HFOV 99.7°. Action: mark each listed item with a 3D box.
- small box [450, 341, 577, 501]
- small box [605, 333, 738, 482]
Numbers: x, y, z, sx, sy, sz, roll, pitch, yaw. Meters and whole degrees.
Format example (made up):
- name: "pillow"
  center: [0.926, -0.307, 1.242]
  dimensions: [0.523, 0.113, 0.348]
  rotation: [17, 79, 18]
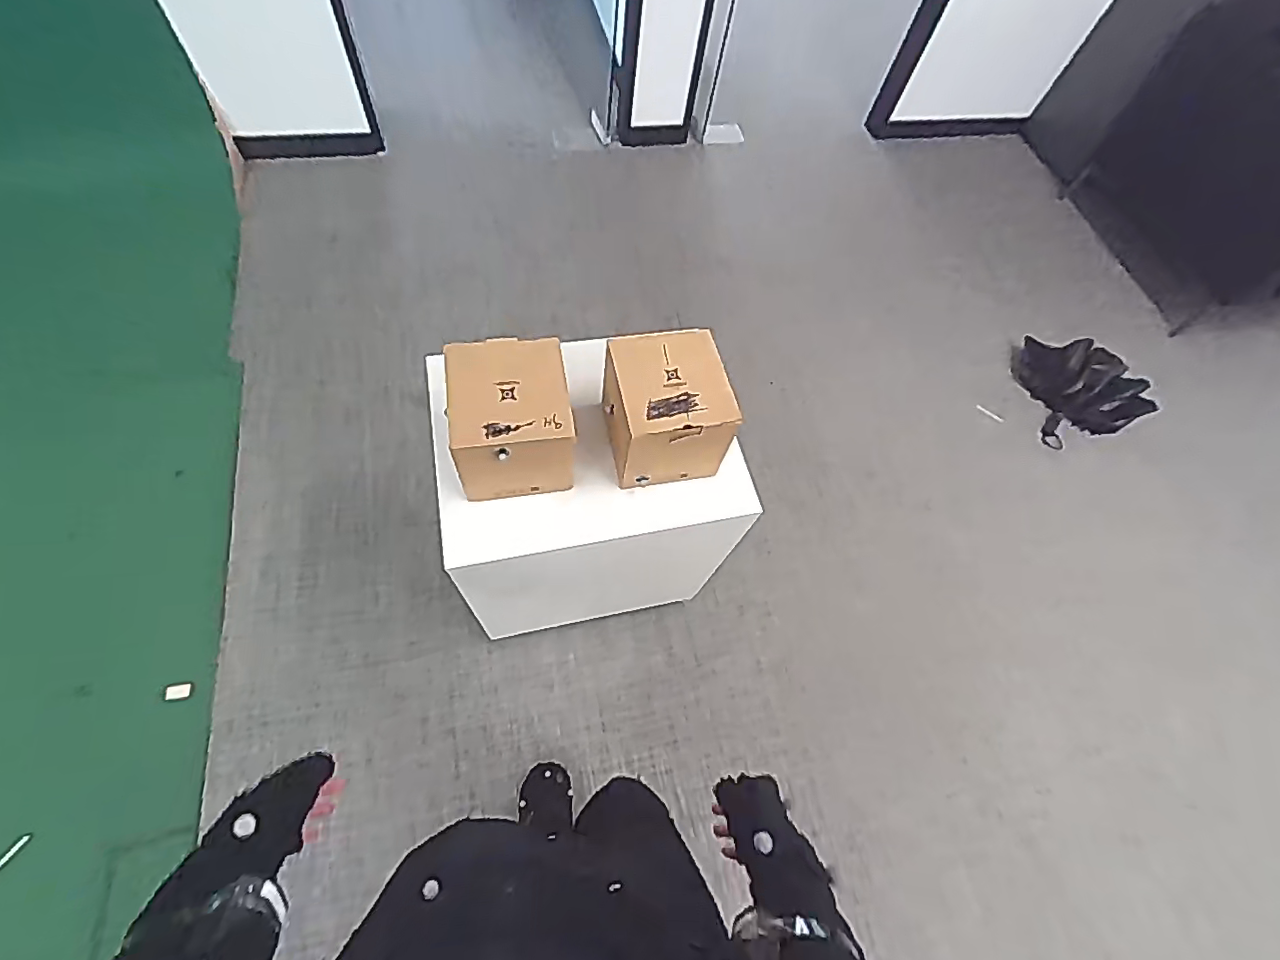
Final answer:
- name: "small box"
  center: [-0.191, -0.087, 0.828]
  dimensions: [0.168, 0.176, 0.179]
  rotation: [-7, 63, -10]
- name: "small box"
  center: [0.039, -0.108, 0.869]
  dimensions: [0.168, 0.176, 0.179]
  rotation: [-8, 63, -11]
